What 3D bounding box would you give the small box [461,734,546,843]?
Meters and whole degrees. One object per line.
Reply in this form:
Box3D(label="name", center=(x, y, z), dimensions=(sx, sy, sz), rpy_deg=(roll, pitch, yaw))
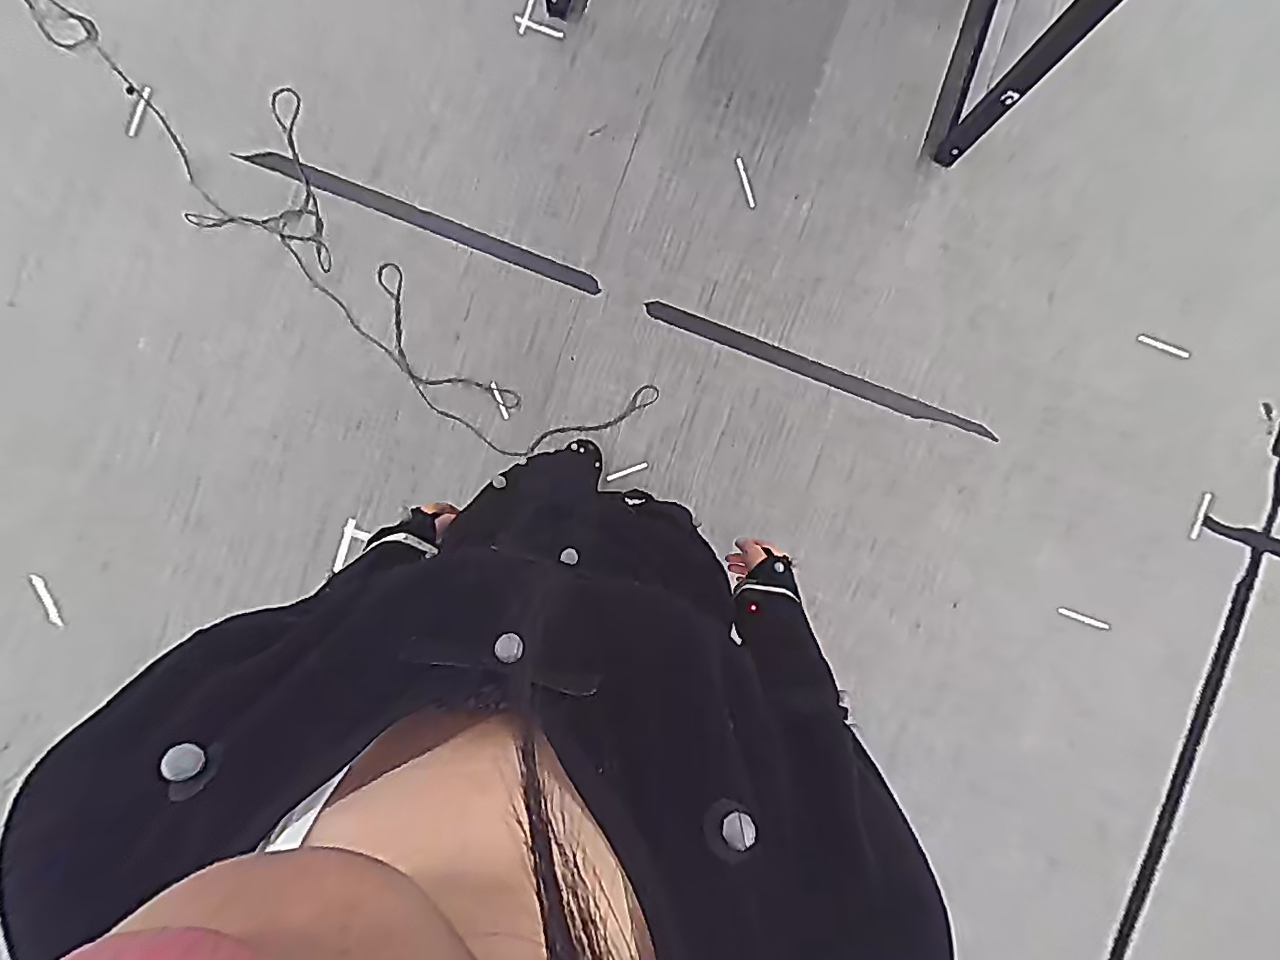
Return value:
Box3D(label="small box", center=(-0.341, 0.779, 1.383), dimensions=(0.168, 0.176, 0.179), rpy_deg=(11, 90, -3))
